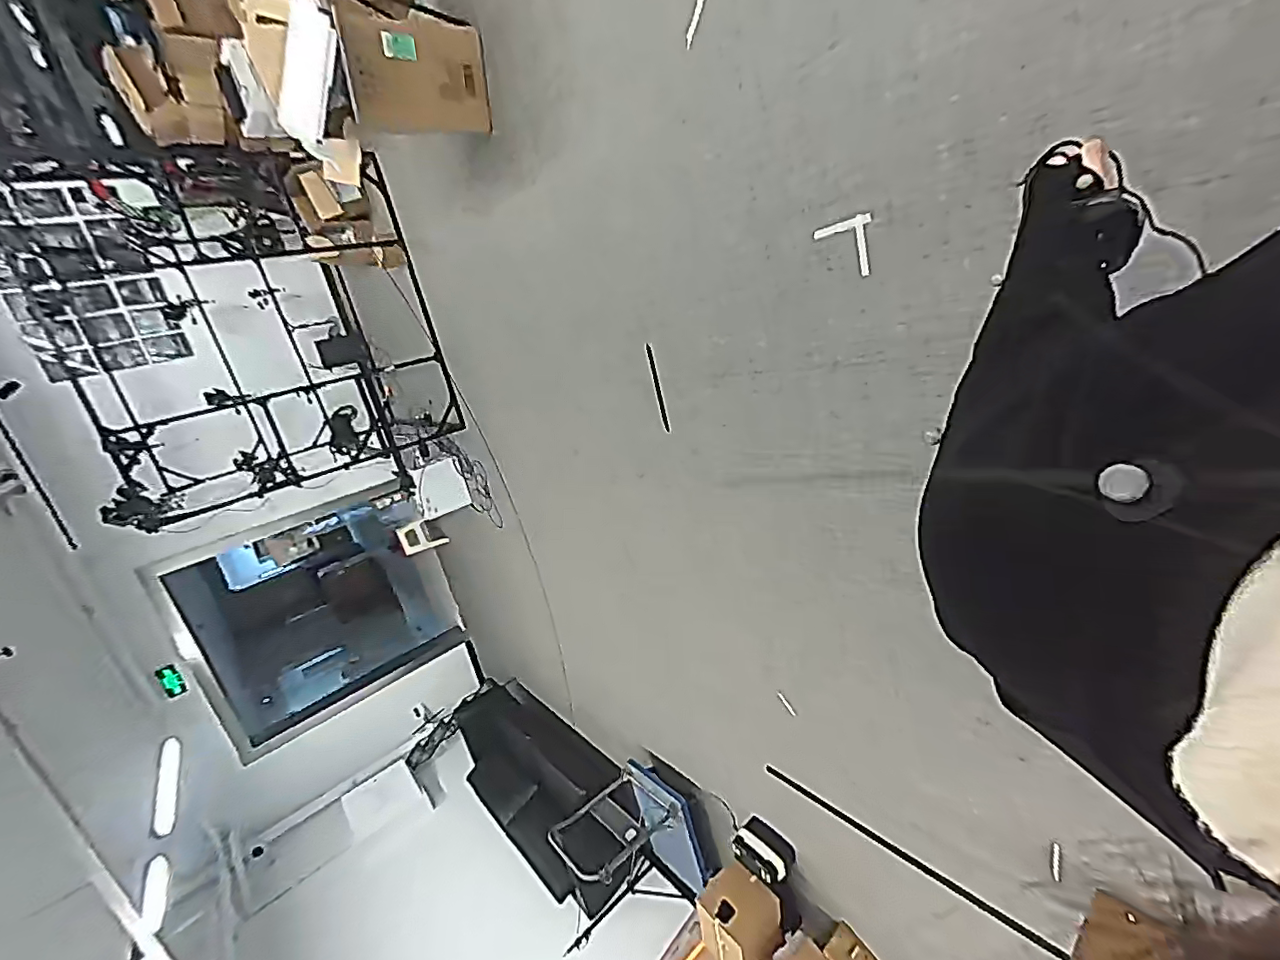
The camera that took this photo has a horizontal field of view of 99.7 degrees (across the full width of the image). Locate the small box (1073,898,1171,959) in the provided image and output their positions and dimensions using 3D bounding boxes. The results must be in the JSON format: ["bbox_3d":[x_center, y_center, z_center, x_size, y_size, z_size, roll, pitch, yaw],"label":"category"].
[{"bbox_3d":[1.372,1.353,1.545,0.179,0.176,0.168,12,120,51],"label":"small box"}]

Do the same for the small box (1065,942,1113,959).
[{"bbox_3d":[1.244,1.408,1.459,0.179,0.176,0.168,15,123,48],"label":"small box"}]
